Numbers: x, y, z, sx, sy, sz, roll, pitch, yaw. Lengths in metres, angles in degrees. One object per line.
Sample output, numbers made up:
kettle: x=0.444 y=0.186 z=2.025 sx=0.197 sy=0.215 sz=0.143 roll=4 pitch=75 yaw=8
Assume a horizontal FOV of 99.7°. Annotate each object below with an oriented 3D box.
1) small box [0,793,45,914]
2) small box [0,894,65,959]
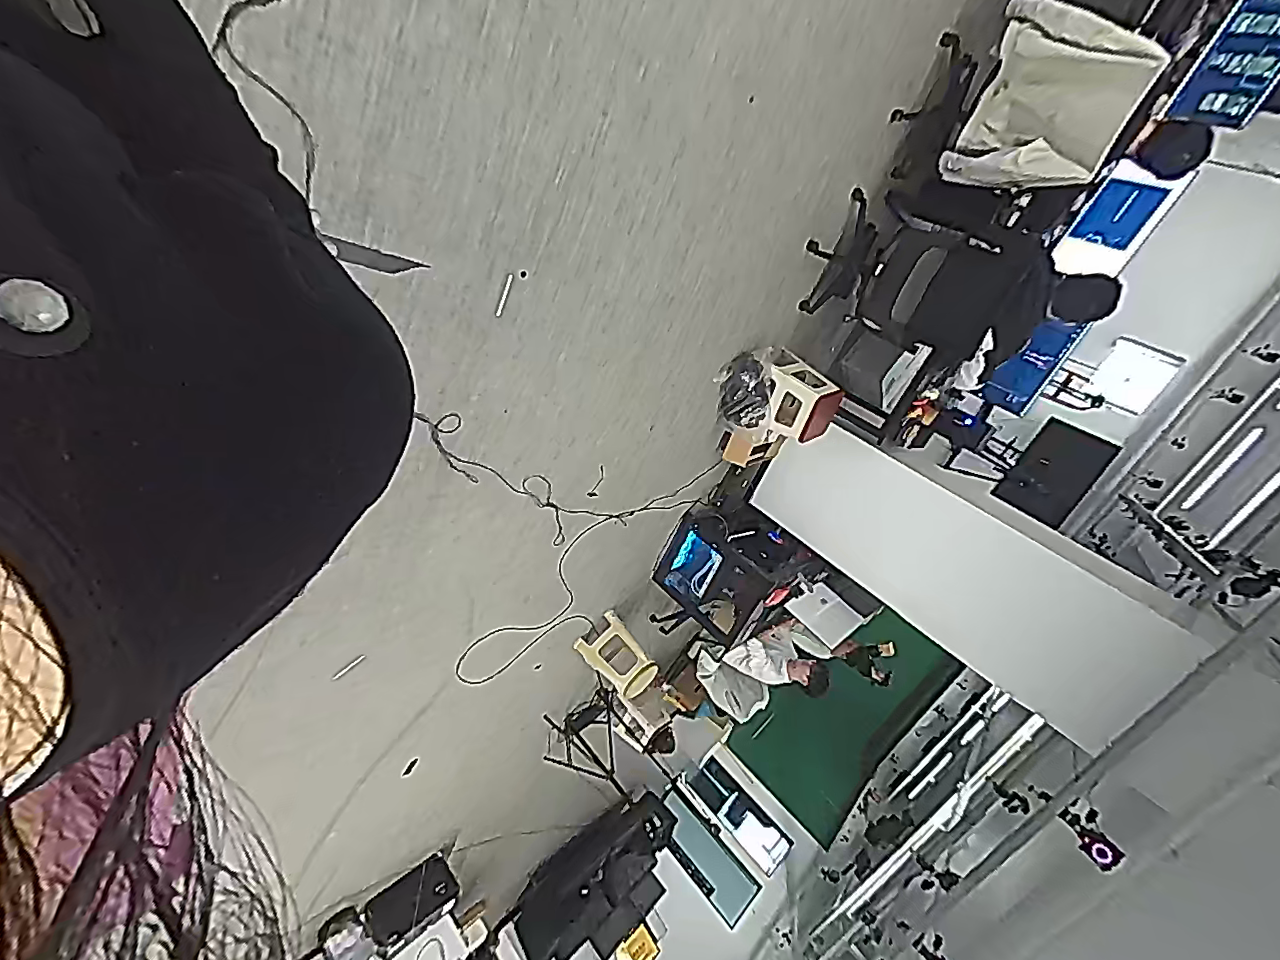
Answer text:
small box: x=-0.907 y=0.561 z=0.708 sx=0.168 sy=0.176 sz=0.179 roll=-9 pitch=130 yaw=-51
small box: x=-0.797 y=0.651 z=0.631 sx=0.179 sy=0.176 sz=0.168 roll=-11 pitch=134 yaw=-50
